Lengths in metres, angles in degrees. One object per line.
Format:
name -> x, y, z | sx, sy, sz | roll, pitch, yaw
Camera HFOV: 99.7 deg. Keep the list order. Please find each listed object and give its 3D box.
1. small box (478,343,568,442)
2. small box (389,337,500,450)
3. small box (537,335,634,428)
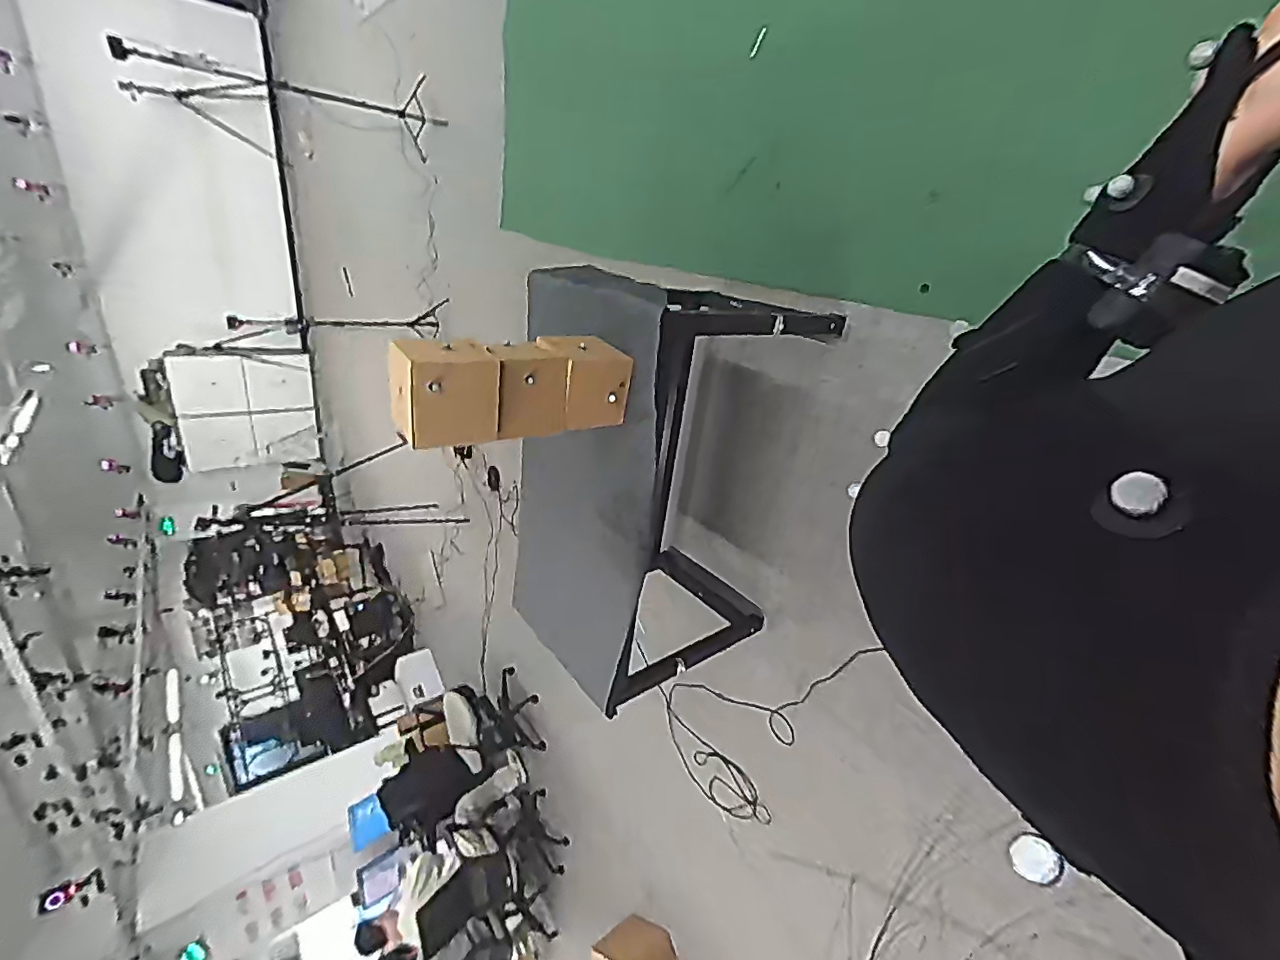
small box -> -0.270, -0.201, 1.193 | 0.168, 0.176, 0.179 | 33, 126, 47
small box -> -0.388, -0.179, 1.078 | 0.168, 0.176, 0.179 | 39, 129, 44
small box -> -0.138, -0.236, 1.282 | 0.179, 0.176, 0.168 | 40, 130, 41
